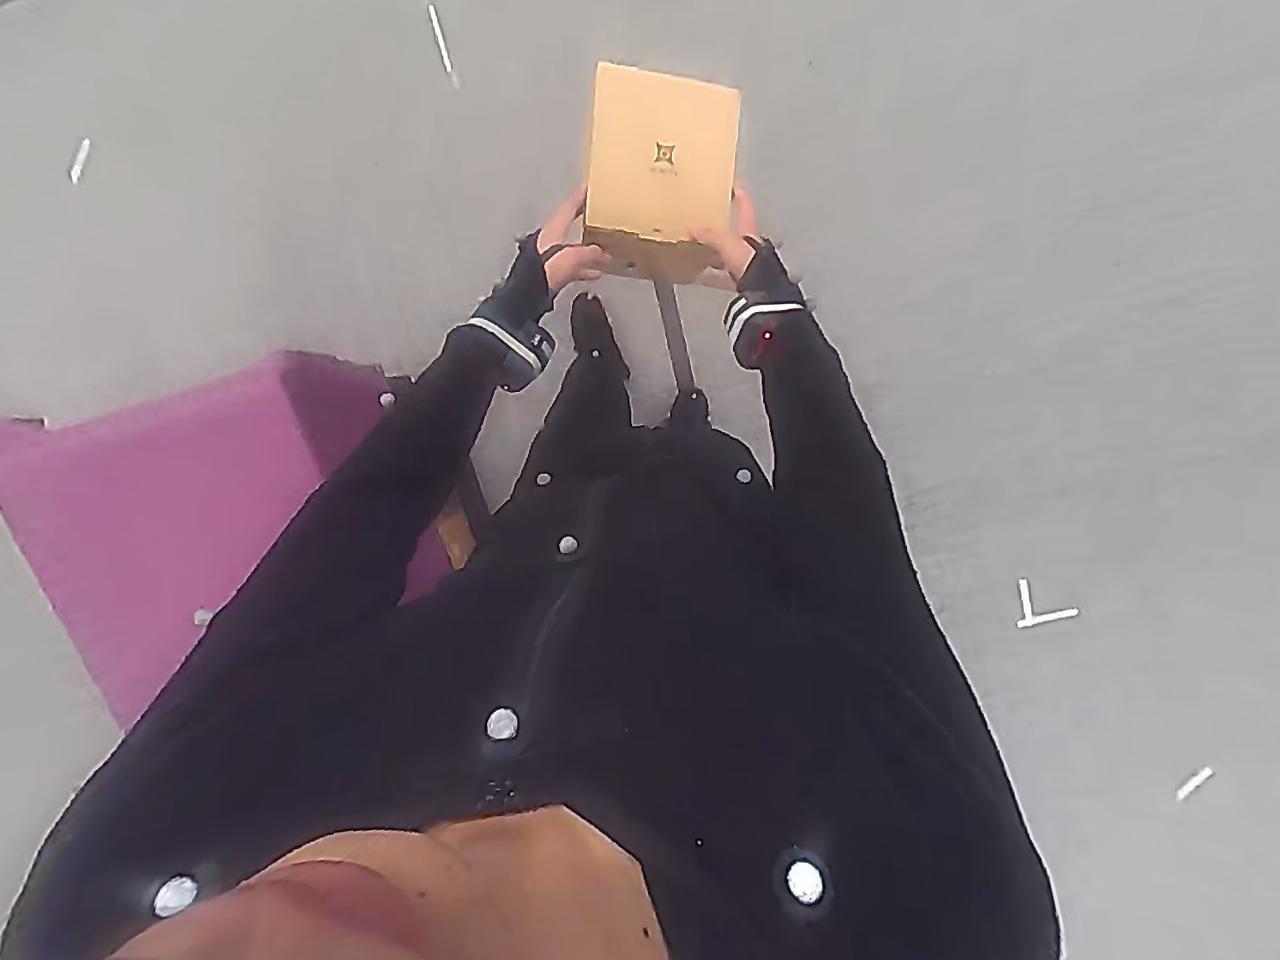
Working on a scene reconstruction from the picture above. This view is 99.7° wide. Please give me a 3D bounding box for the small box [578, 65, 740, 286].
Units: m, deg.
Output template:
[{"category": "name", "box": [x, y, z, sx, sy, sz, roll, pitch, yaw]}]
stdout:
[{"category": "small box", "box": [0.013, -0.364, 0.682, 0.168, 0.176, 0.179, 4, 96, -10]}]
